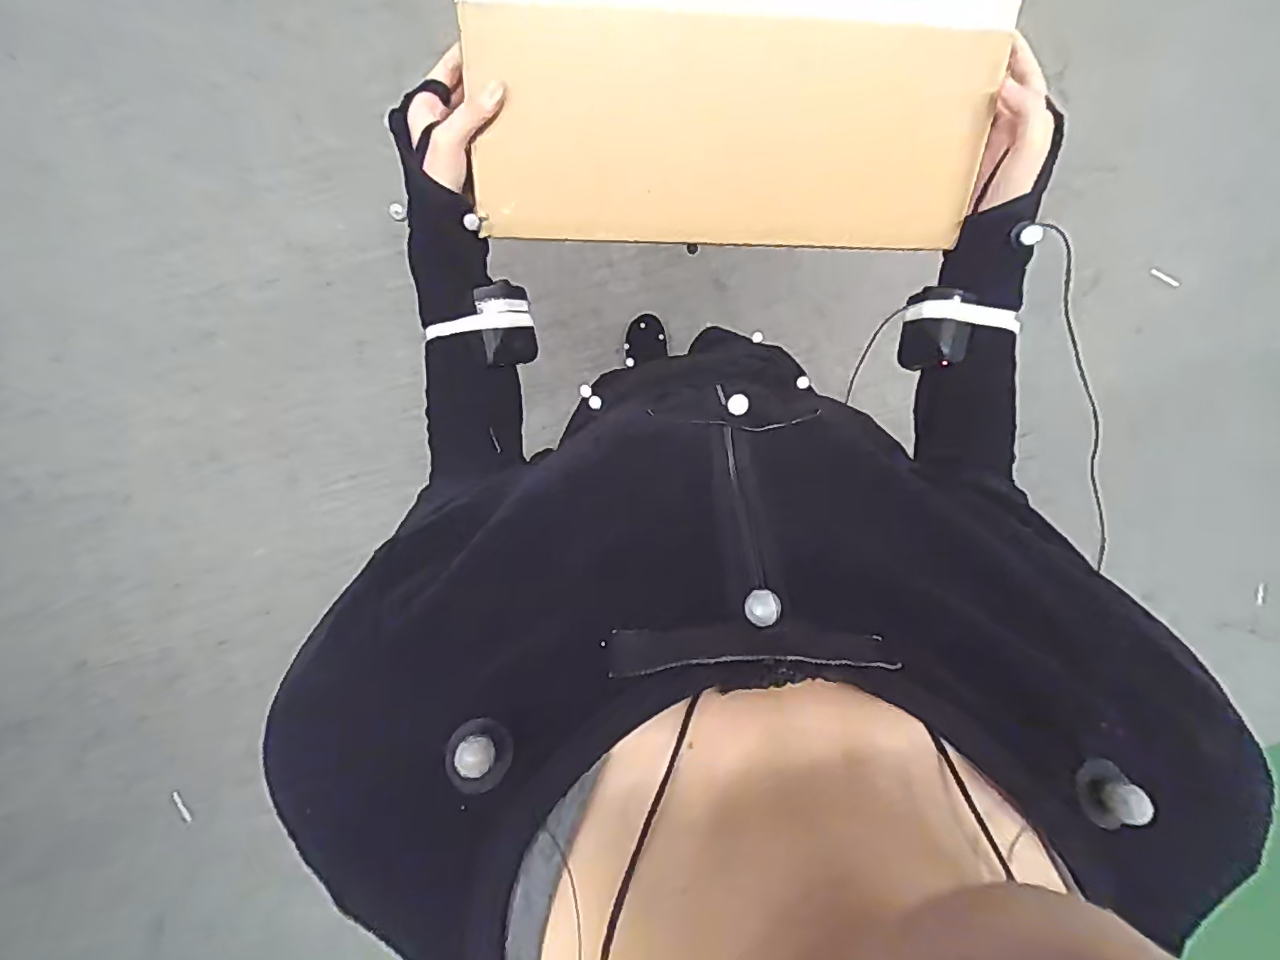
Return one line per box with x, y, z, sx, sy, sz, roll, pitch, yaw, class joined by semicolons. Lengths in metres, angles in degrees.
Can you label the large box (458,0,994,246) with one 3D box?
0.059;-0.412;0.531;0.408;0.320;0.320;-1;116;-4;large box
